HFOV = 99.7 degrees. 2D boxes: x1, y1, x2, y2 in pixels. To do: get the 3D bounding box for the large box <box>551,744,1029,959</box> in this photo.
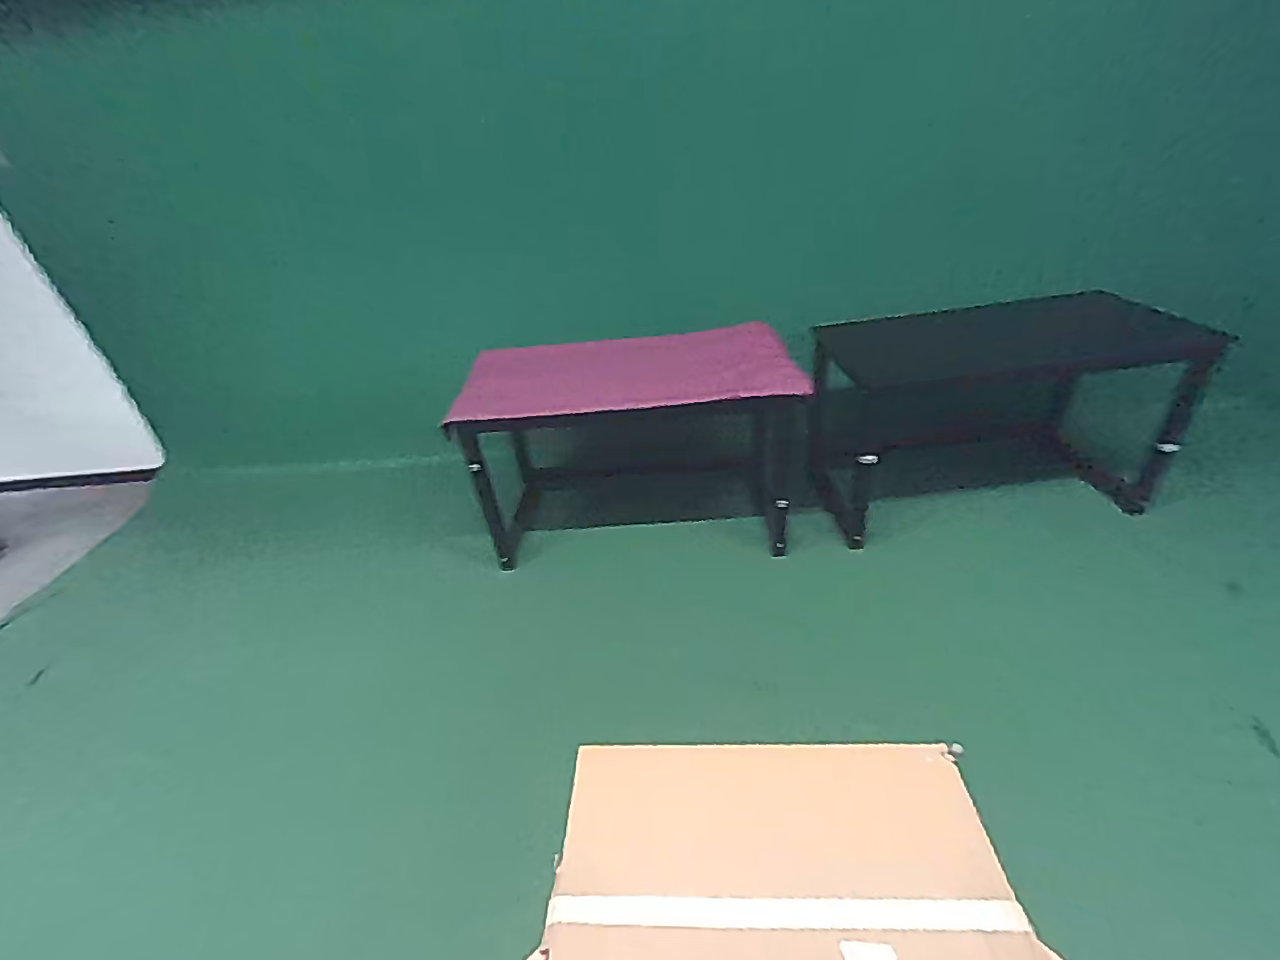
[{"bbox_3d":[0.130,0.508,0.558,0.408,0.320,0.320,-2,33,4],"label":"large box"}]
